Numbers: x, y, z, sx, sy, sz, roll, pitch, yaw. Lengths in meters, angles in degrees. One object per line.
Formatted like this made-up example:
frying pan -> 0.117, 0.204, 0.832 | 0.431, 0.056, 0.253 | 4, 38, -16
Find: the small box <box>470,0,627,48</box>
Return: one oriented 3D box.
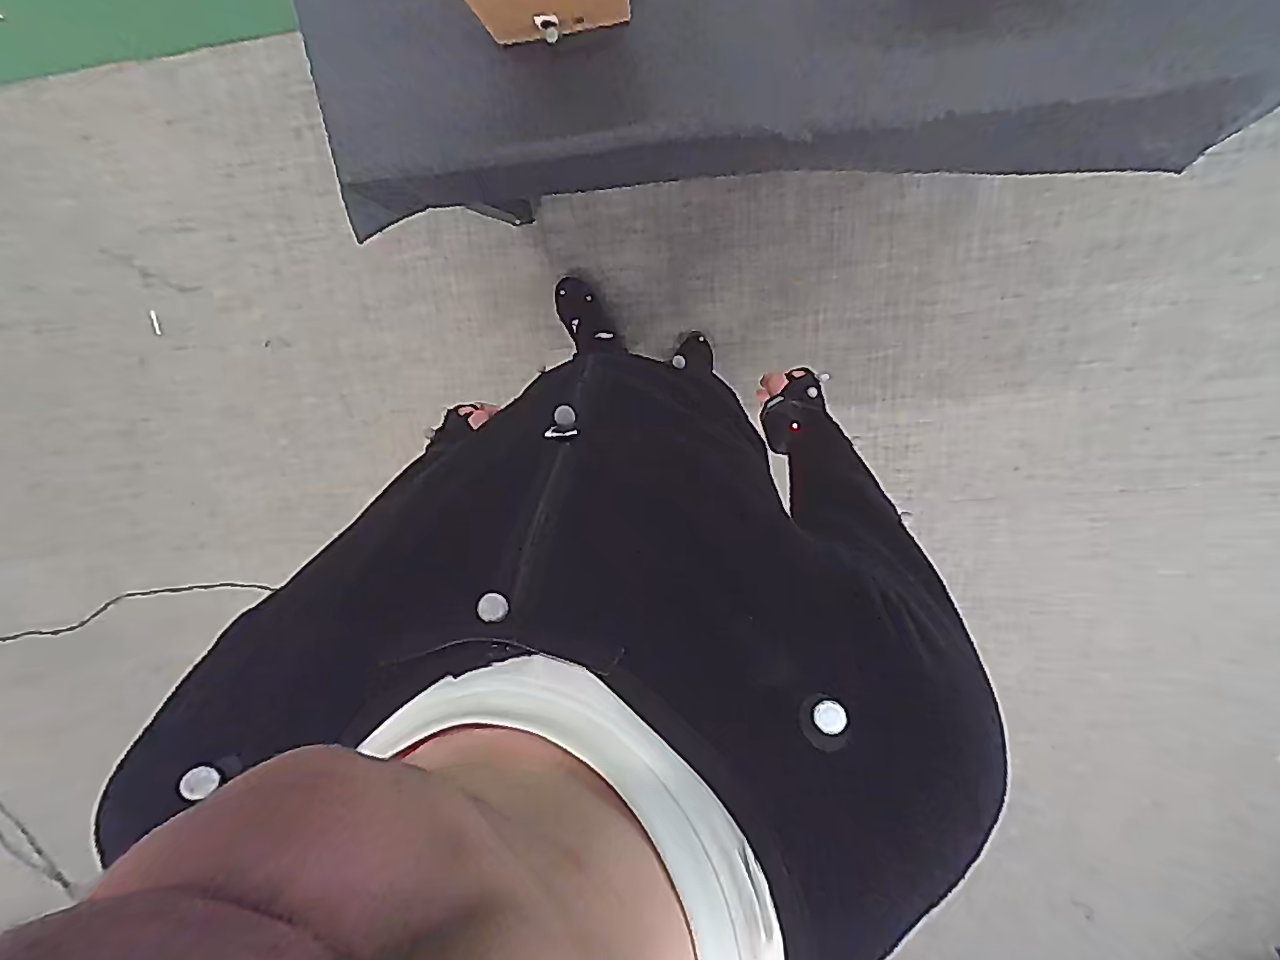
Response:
small box -> -0.109, -0.583, 0.544 | 0.168, 0.176, 0.179 | -4, 109, 8
